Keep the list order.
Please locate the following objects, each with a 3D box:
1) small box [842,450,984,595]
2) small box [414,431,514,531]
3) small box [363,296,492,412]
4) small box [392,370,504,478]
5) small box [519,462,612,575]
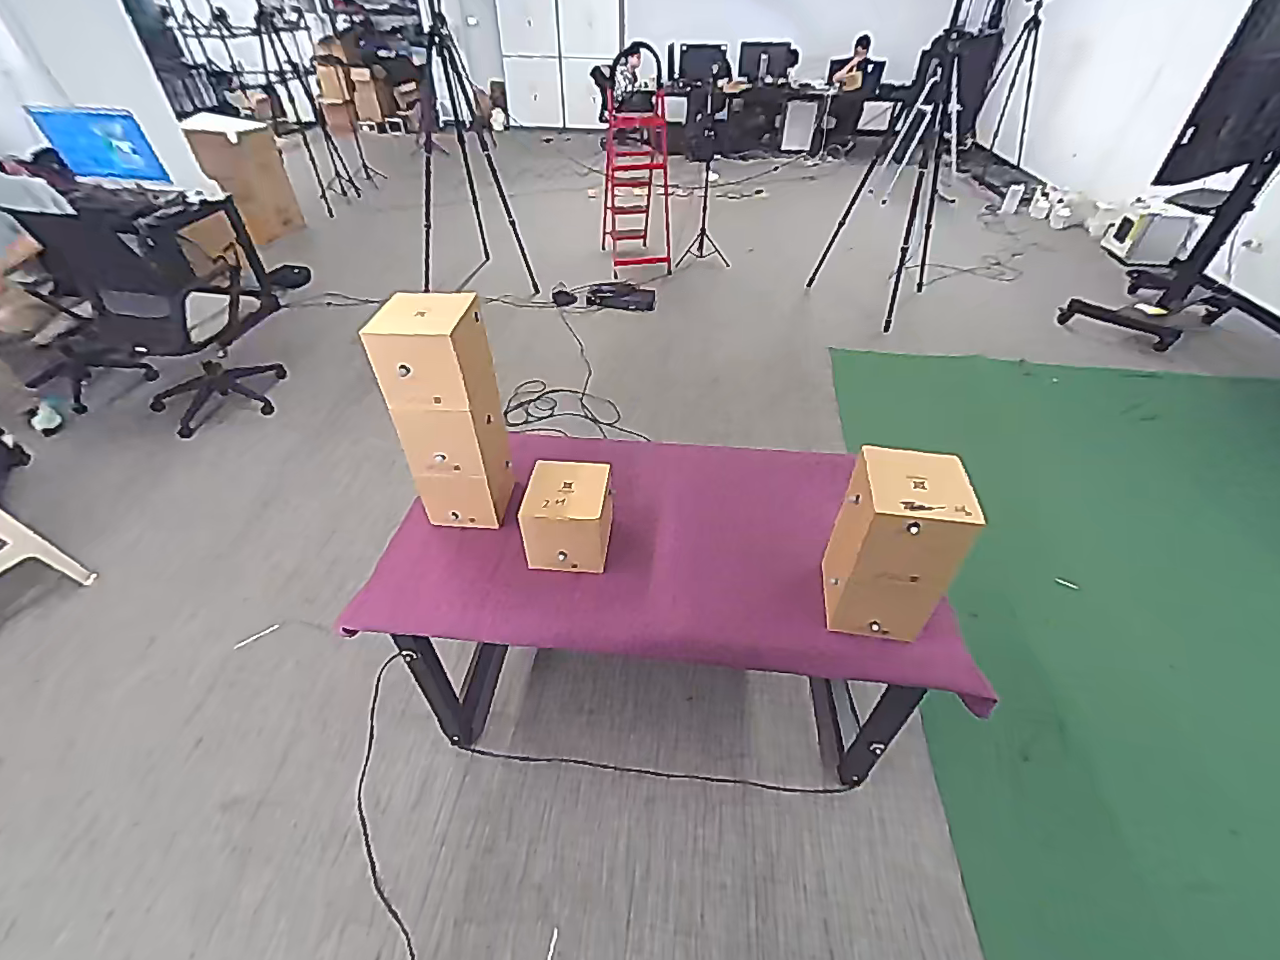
[{"bbox_3d":[0.461,0.072,0.948,0.168,0.176,0.179,6,41,9],"label":"small box"},{"bbox_3d":[-0.404,-0.003,1.277,0.168,0.176,0.179,3,42,3],"label":"small box"},{"bbox_3d":[-0.402,-0.247,1.061,0.168,0.176,0.179,2,41,3],"label":"small box"},{"bbox_3d":[-0.402,-0.126,1.169,0.168,0.176,0.179,2,42,3],"label":"small box"},{"bbox_3d":[-0.153,0.083,1.182,0.168,0.176,0.179,3,42,4],"label":"small box"}]
